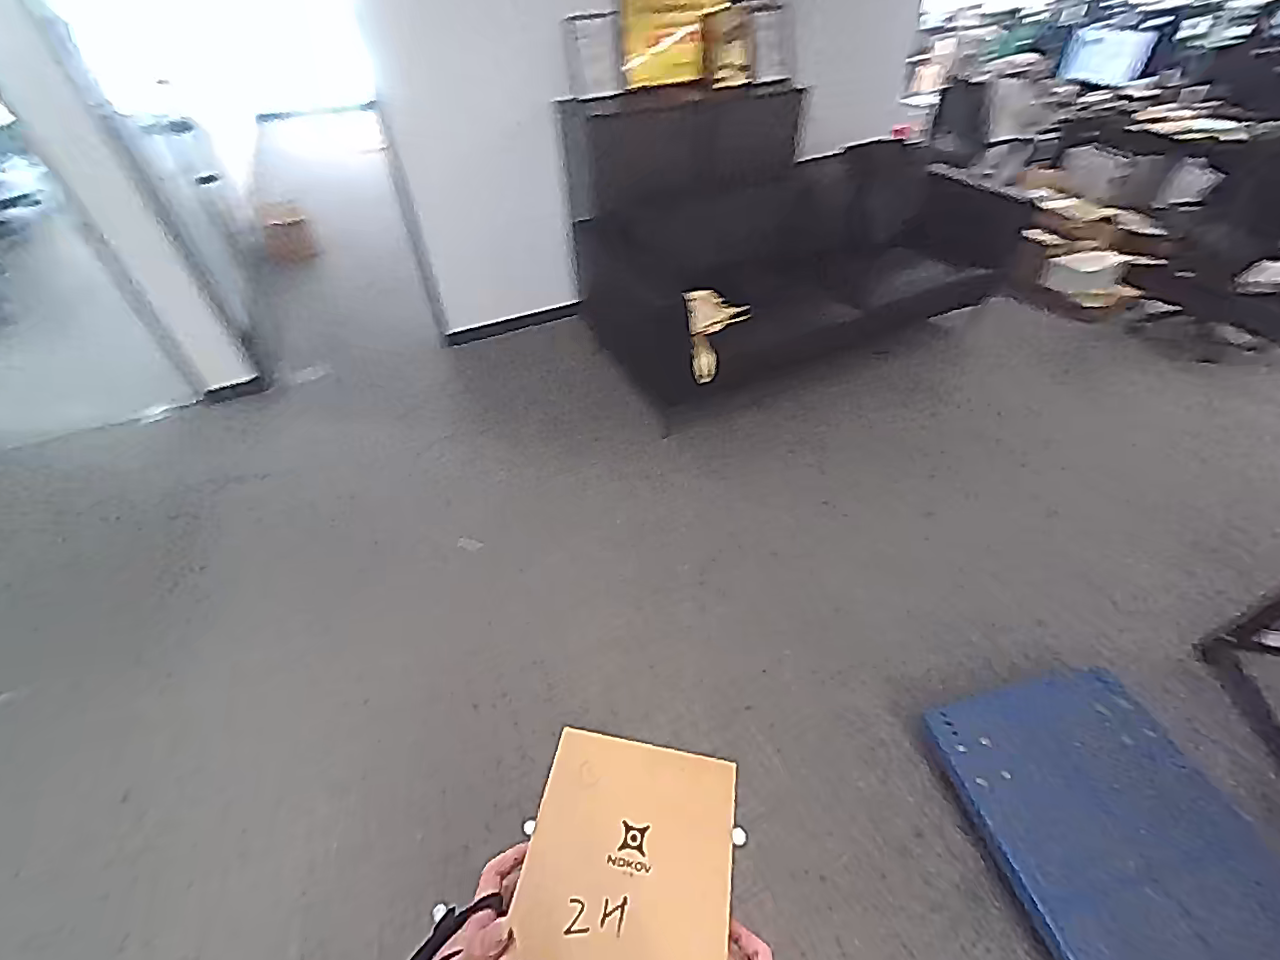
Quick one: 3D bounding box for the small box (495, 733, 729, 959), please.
[{"bbox_3d":[-0.018,0.372,0.498,0.168,0.176,0.179,9,41,6],"label":"small box"}]
